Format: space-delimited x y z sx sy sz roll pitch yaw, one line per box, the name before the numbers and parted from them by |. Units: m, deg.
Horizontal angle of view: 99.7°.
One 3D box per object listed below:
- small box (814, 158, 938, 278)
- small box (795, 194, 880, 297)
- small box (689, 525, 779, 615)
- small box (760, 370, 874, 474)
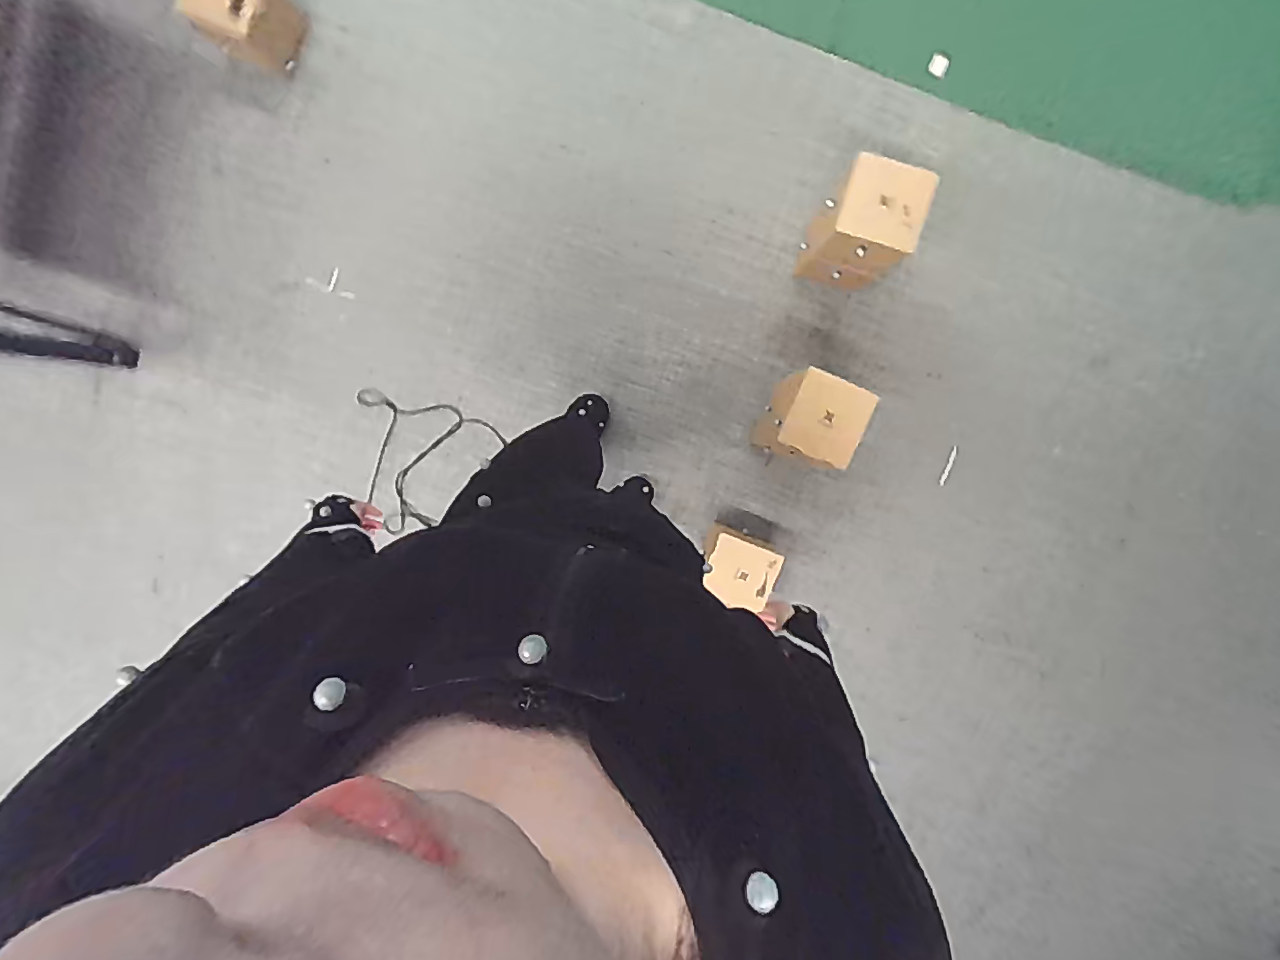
small box | 0.508 -0.568 1.196 0.179 0.176 0.168 18 96 -1
small box | 0.512 -0.580 1.360 0.179 0.176 0.168 19 96 -2
small box | 0.239 0.229 1.433 0.179 0.176 0.168 23 95 -1
small box | 0.393 -0.131 1.236 0.168 0.176 0.179 24 95 -2
